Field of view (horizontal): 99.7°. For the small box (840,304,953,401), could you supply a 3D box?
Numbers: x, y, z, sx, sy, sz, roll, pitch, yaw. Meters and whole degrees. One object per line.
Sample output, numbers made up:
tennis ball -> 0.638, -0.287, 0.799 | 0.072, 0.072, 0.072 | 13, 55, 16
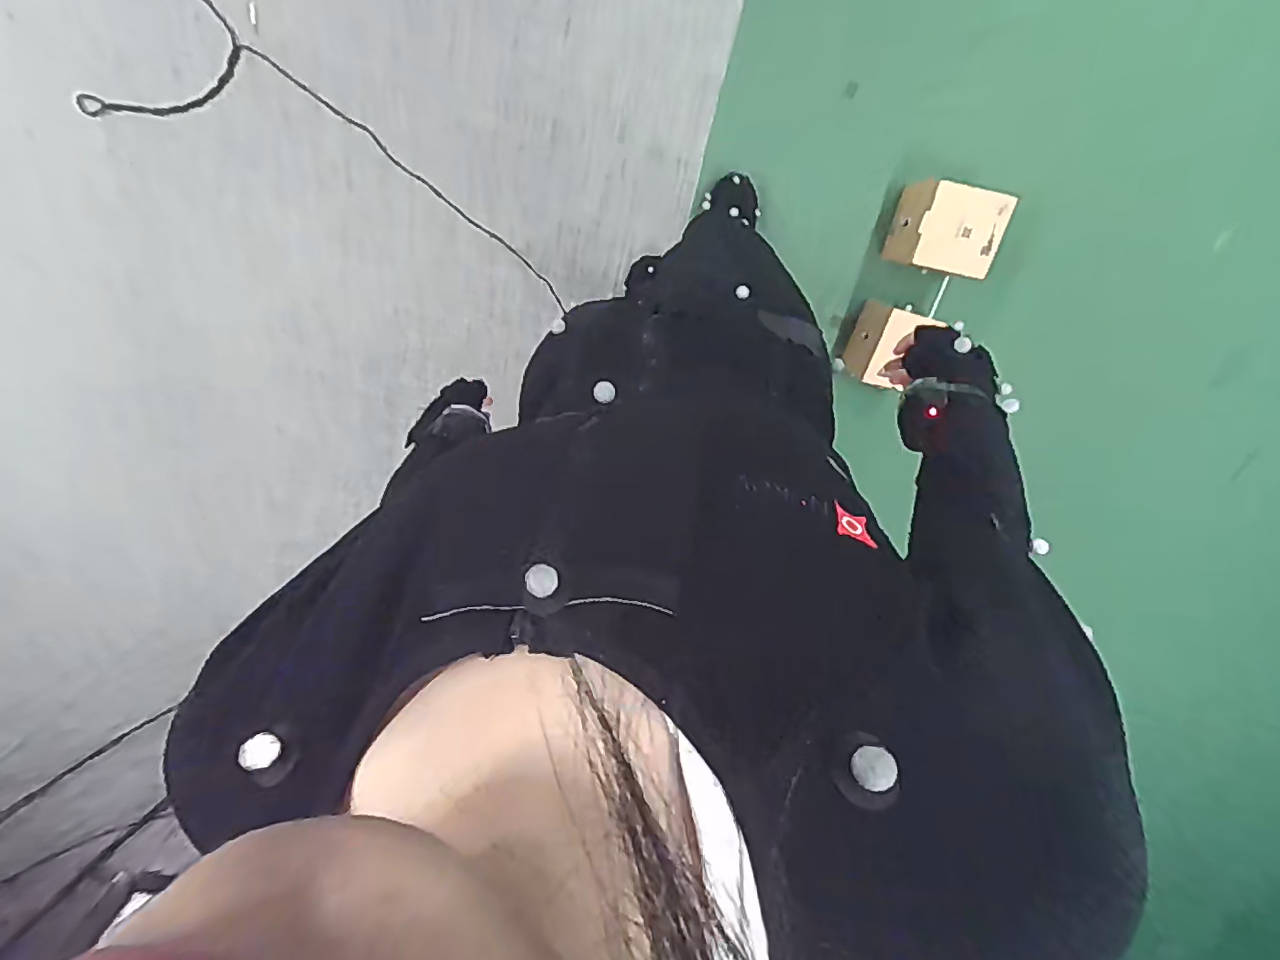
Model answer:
small box -> 0.616, -0.317, 1.328 | 0.168, 0.176, 0.179 | 14, 113, -6

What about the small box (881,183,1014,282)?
small box -> 0.680, -0.553, 1.221 | 0.179, 0.176, 0.168 | 12, 114, -4
